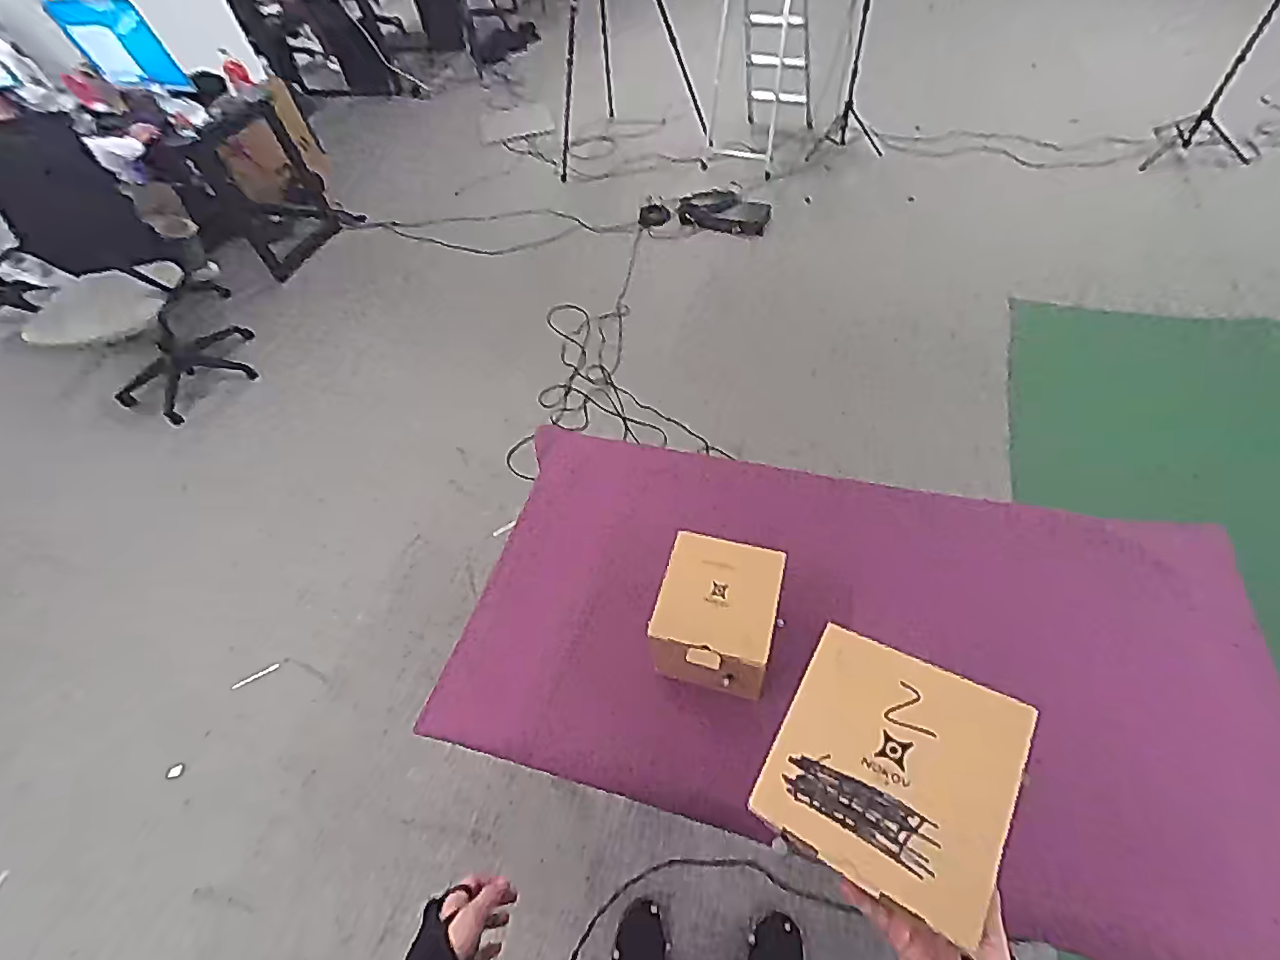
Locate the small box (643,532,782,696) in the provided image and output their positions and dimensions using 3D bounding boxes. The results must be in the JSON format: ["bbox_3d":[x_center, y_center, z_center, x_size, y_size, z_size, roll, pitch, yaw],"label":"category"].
[{"bbox_3d":[0.115,0.210,0.833,0.168,0.176,0.179,12,55,15],"label":"small box"}]
